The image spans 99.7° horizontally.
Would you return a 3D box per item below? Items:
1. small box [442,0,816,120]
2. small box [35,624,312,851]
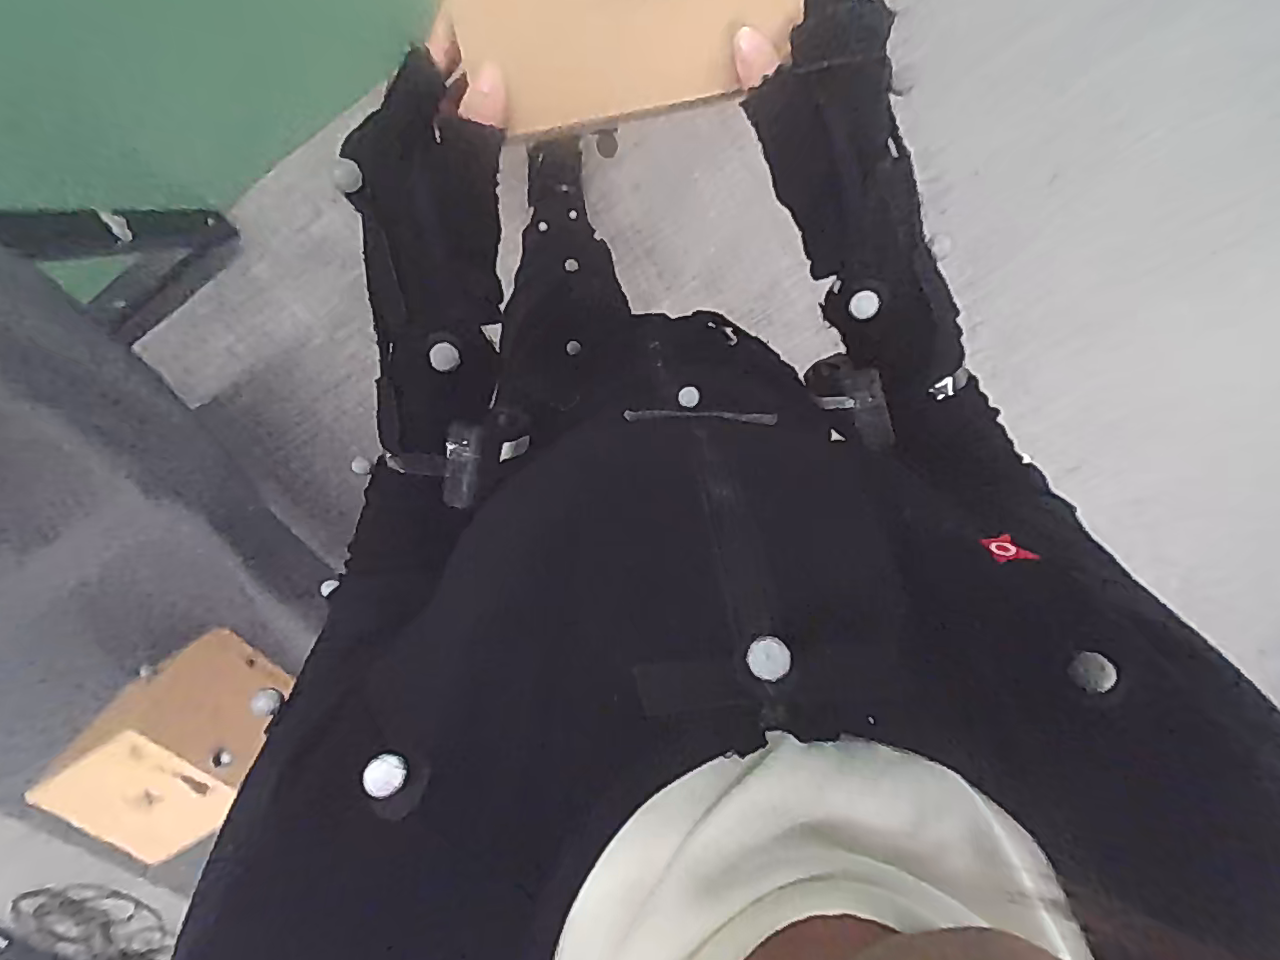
[{"bbox_3d":[-0.020,-0.299,0.272,0.168,0.176,0.179,-10,122,-1],"label":"small box"},{"bbox_3d":[-0.571,0.323,0.694,0.179,0.176,0.168,-31,116,10],"label":"small box"}]
